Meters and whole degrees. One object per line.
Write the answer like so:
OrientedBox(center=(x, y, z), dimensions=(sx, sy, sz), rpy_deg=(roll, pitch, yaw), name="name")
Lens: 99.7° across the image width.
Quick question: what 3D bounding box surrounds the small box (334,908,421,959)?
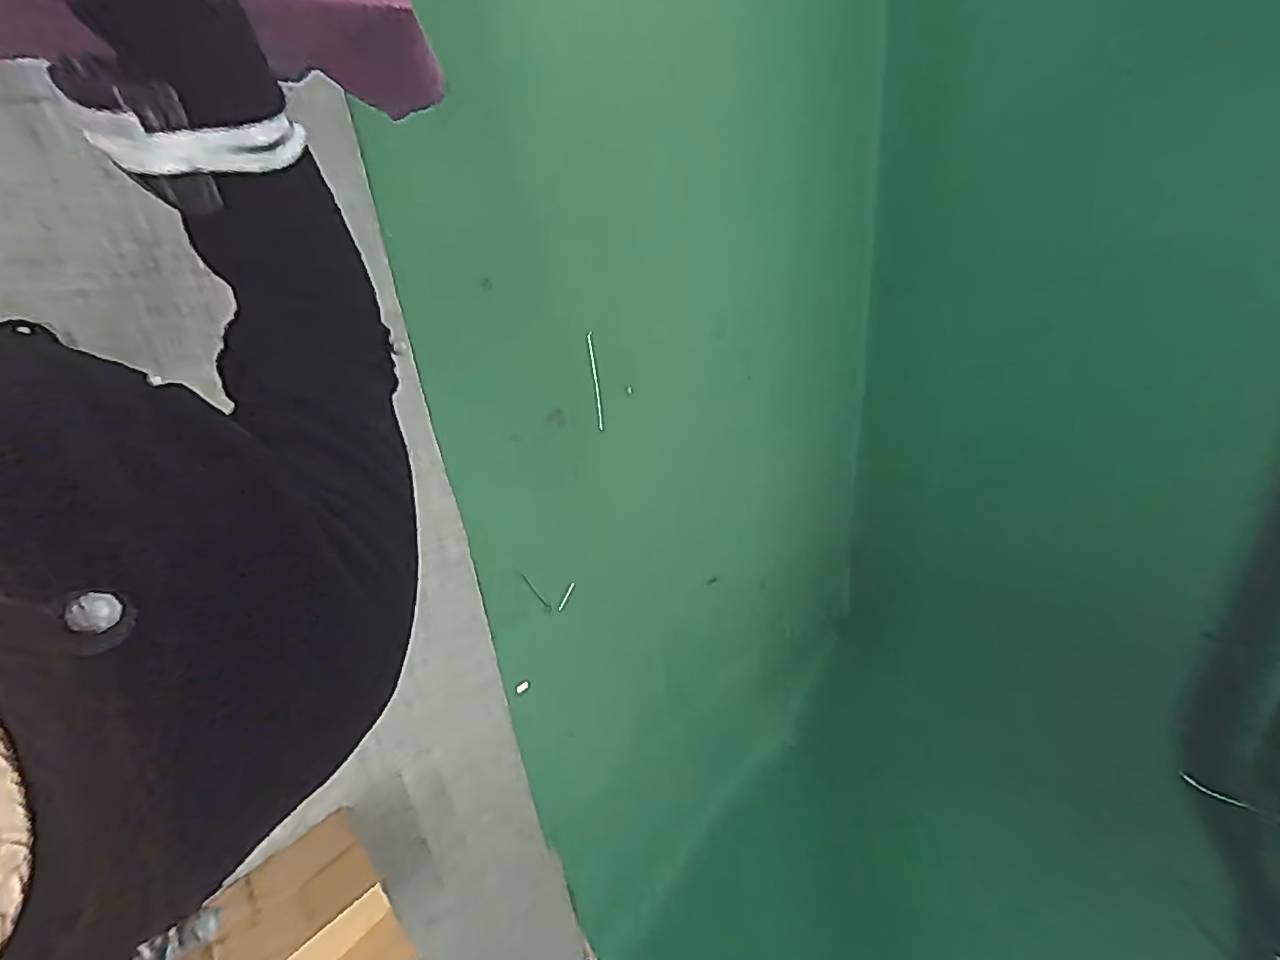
OrientedBox(center=(-0.677, 1.287, 1.407), dimensions=(0.179, 0.176, 0.168), rpy_deg=(-30, 125, -40), name="small box")
